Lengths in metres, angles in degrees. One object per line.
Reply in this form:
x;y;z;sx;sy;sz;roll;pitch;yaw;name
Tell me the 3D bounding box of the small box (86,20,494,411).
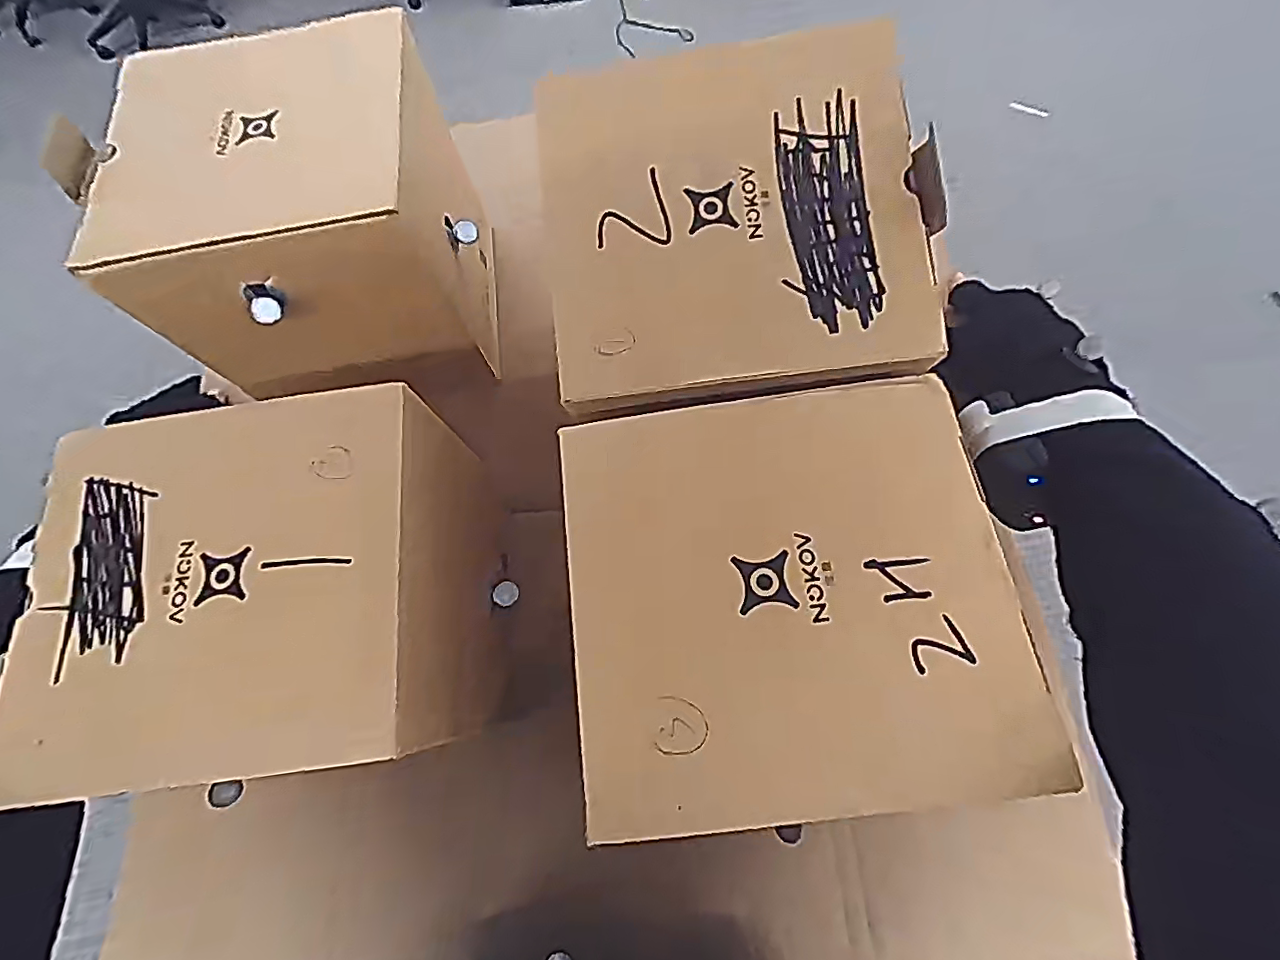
-0.212;-0.168;0.385;0.179;0.176;0.168;-10;69;2;small box
